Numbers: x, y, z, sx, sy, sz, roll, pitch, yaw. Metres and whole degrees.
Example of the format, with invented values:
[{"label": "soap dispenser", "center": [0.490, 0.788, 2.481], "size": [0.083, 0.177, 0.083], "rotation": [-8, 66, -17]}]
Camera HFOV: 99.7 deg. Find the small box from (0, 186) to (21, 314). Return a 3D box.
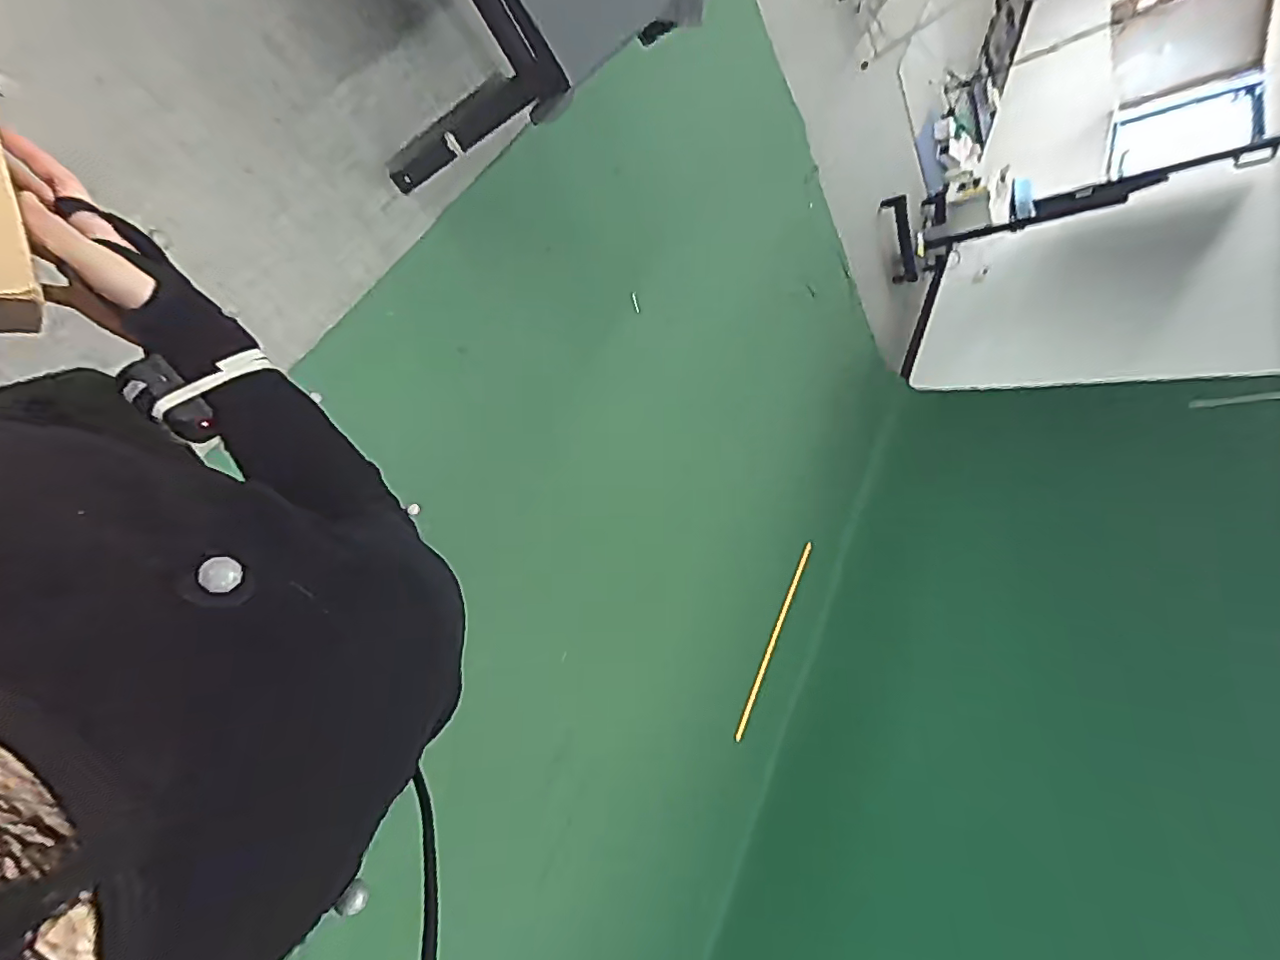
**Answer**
[{"label": "small box", "center": [-0.467, -0.189, 0.282], "size": [0.168, 0.176, 0.179], "rotation": [-14, 105, -48]}]
